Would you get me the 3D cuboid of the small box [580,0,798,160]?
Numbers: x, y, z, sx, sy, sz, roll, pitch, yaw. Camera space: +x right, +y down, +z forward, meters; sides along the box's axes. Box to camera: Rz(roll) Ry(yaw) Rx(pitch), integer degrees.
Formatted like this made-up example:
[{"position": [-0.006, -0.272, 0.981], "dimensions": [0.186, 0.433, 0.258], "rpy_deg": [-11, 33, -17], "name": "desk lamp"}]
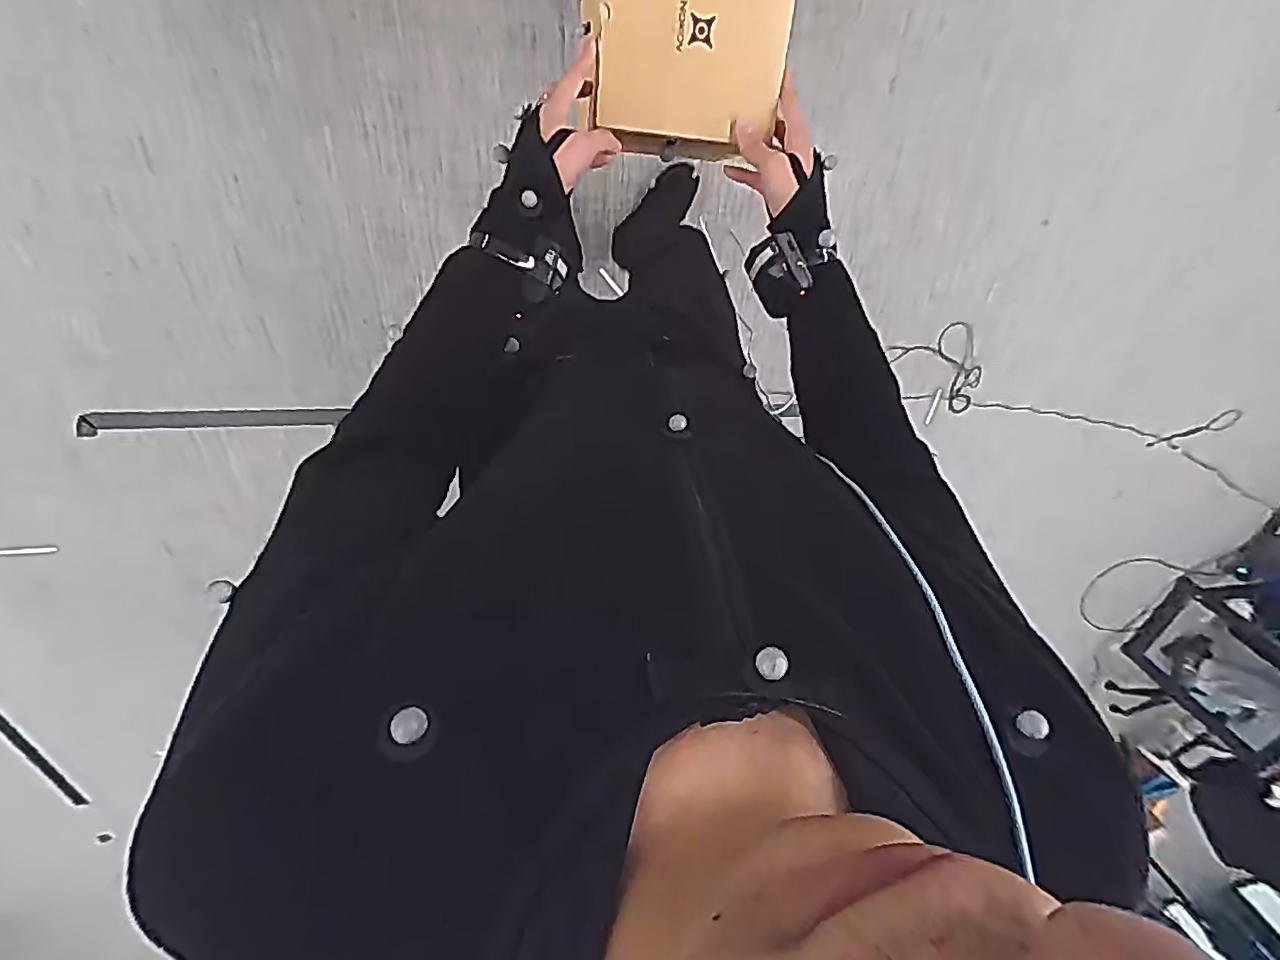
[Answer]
[{"position": [0.037, -0.426, 0.540], "dimensions": [0.179, 0.176, 0.168], "rpy_deg": [0, 117, -11], "name": "small box"}]
